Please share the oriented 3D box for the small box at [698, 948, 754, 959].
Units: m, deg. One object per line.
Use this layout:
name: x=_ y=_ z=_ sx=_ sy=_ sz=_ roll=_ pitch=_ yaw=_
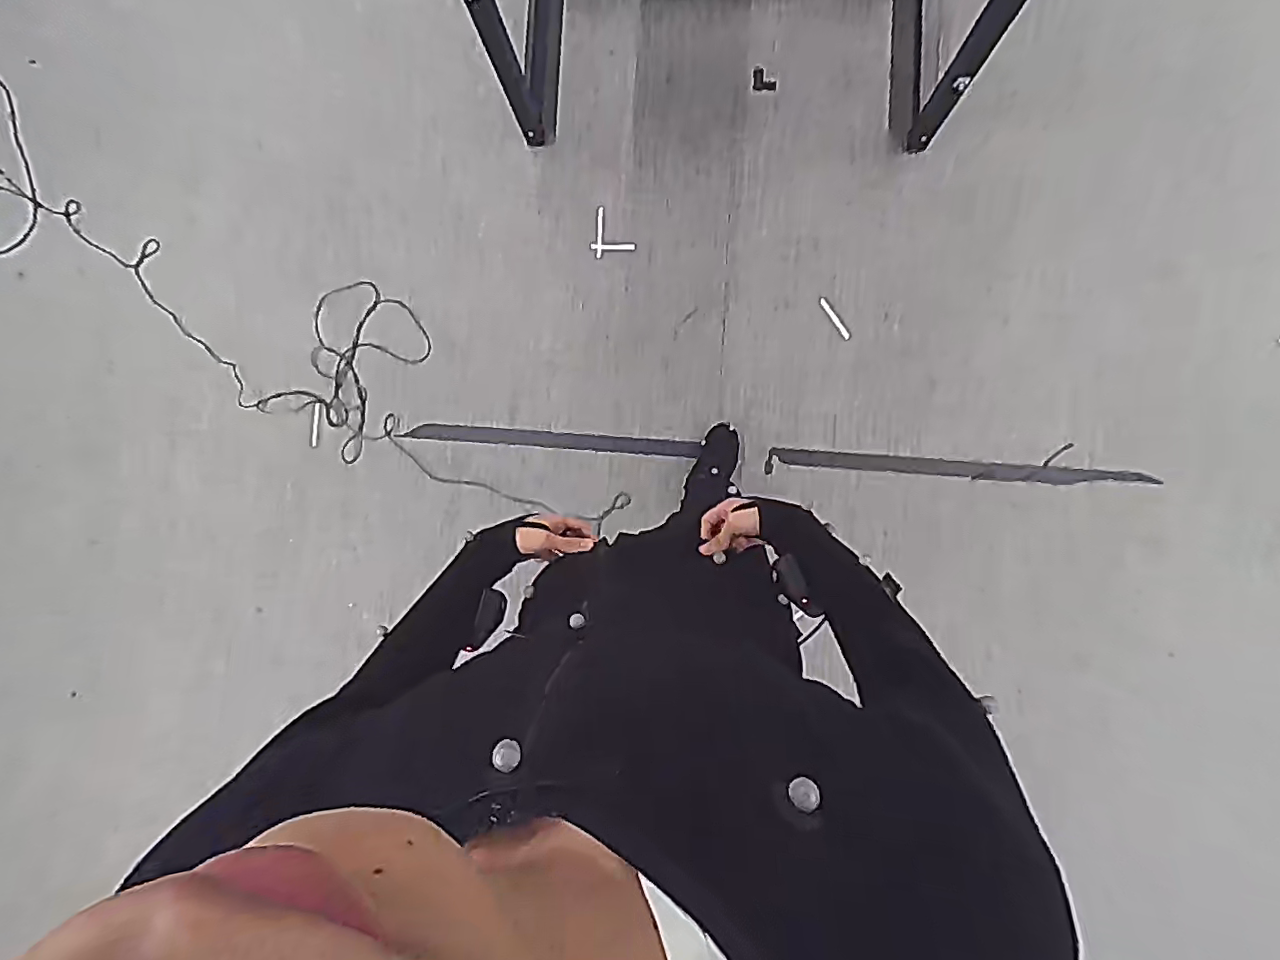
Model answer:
small box: x=0.243 y=1.429 z=1.470 sx=0.168 sy=0.176 sz=0.179 roll=1 pitch=89 yaw=4
